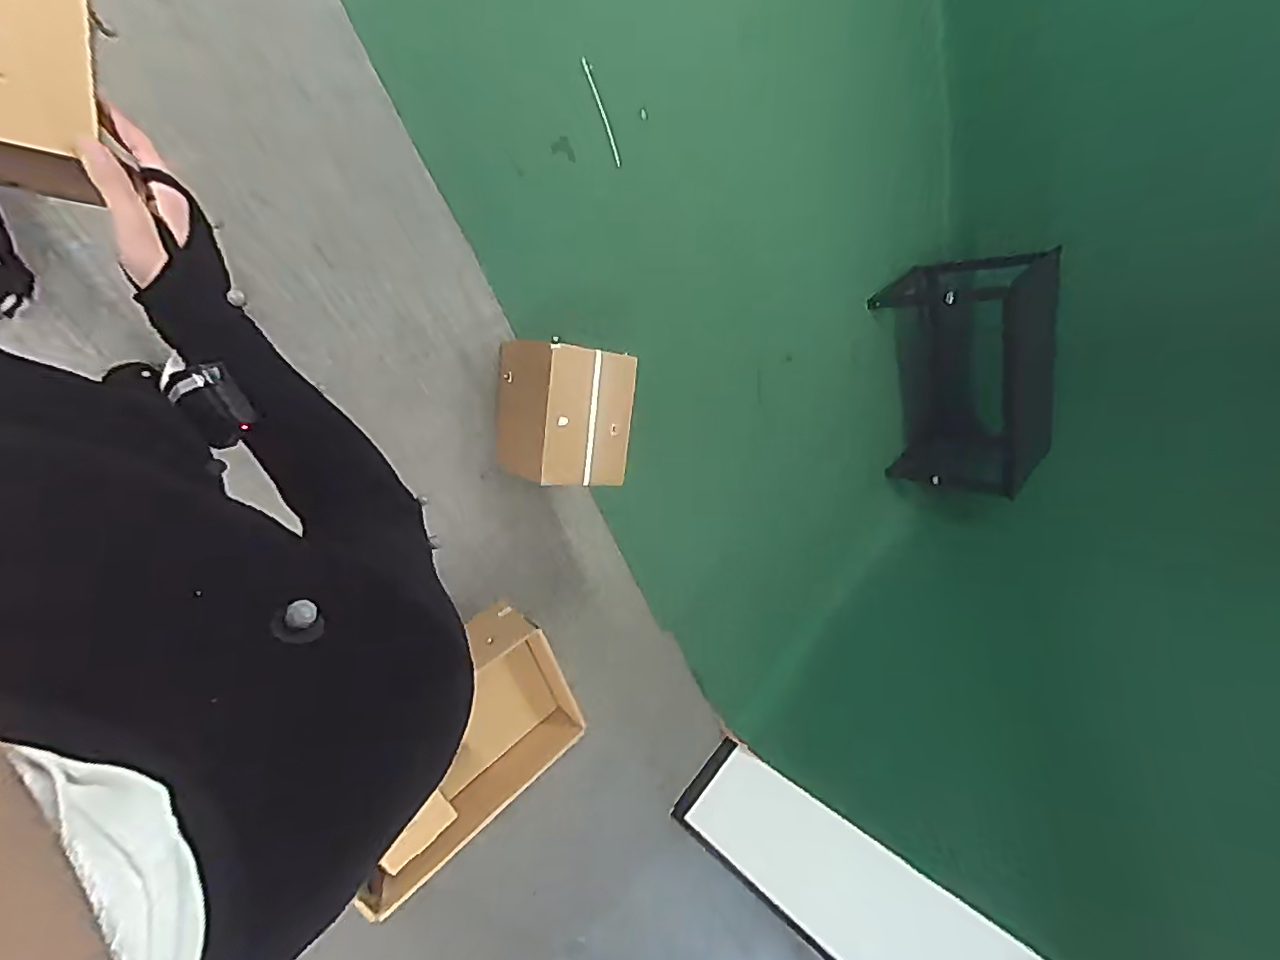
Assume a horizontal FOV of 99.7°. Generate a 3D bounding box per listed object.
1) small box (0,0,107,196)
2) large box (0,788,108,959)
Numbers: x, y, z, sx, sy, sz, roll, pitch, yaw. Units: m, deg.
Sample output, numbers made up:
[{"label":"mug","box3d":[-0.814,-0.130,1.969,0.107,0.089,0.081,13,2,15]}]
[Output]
[{"label":"small box","box3d":[-0.526,-0.343,0.408,0.168,0.176,0.179,-5,104,-42]},{"label":"large box","box3d":[-1.378,0.924,1.068,0.408,0.320,0.320,-17,113,-38]}]
